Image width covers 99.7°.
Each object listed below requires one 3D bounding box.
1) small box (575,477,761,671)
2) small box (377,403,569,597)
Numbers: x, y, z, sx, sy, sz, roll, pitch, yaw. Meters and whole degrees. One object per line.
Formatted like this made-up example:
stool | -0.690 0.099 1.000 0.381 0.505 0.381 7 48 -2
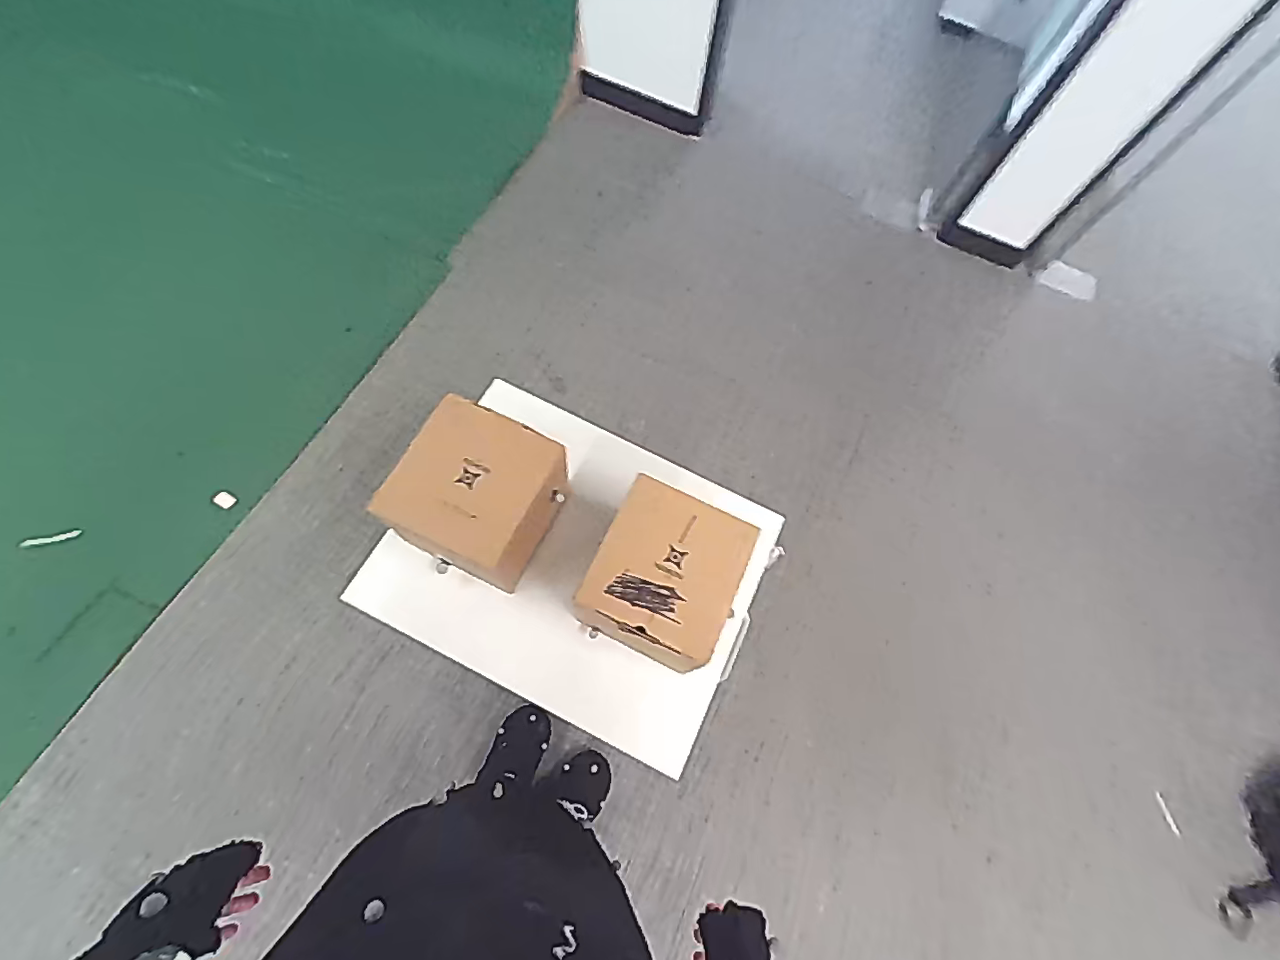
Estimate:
small box | 0.033 0.130 0.694 0.168 0.176 0.179 24 68 6
small box | -0.203 0.035 0.718 0.168 0.176 0.179 23 69 5
